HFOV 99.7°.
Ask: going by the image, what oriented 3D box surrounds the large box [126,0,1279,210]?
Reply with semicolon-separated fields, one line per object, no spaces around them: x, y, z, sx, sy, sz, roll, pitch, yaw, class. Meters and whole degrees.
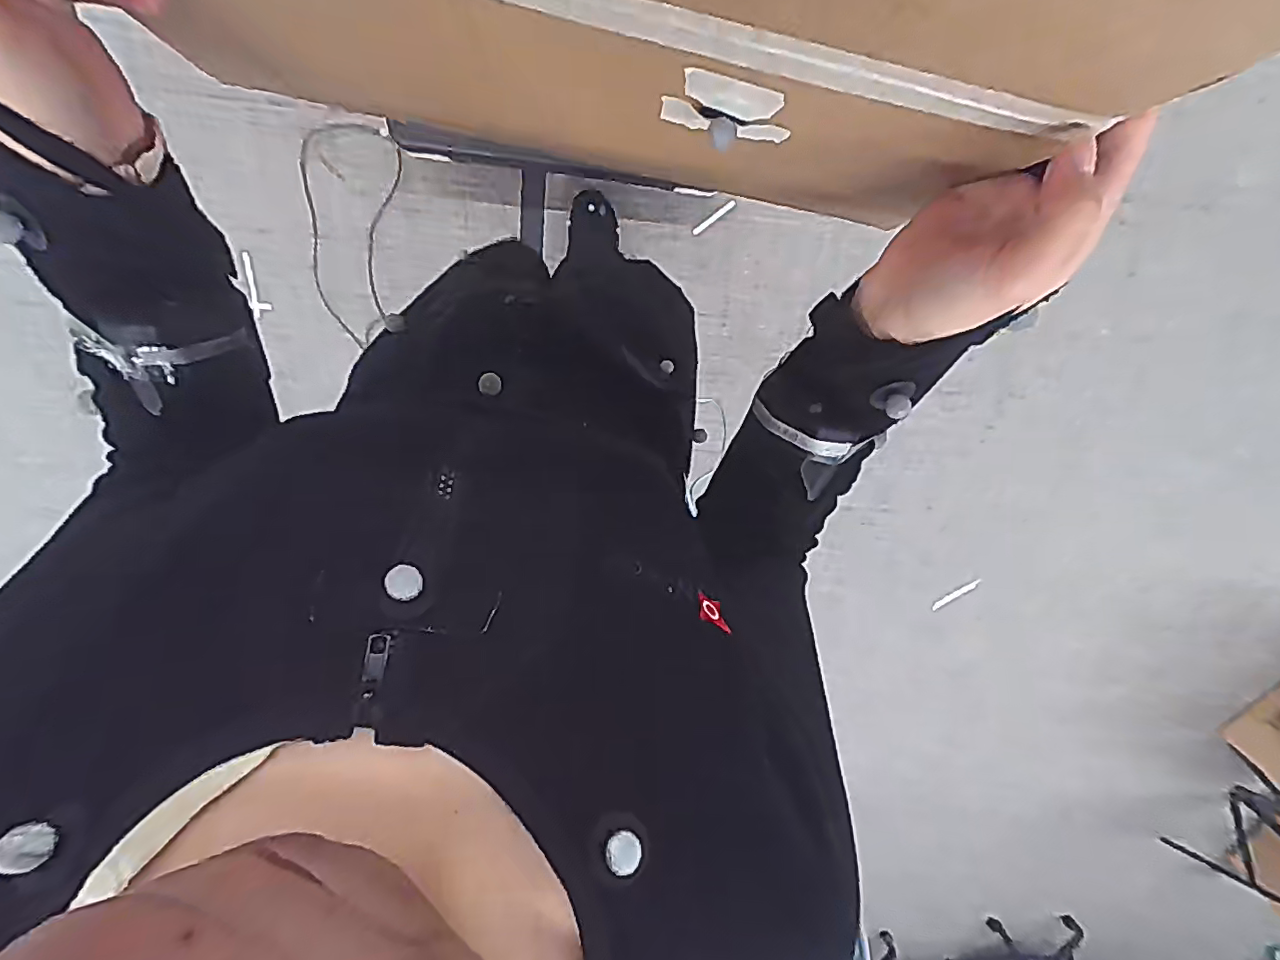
-0.001;-0.317;0.153;0.408;0.320;0.320;8;102;-6;large box
